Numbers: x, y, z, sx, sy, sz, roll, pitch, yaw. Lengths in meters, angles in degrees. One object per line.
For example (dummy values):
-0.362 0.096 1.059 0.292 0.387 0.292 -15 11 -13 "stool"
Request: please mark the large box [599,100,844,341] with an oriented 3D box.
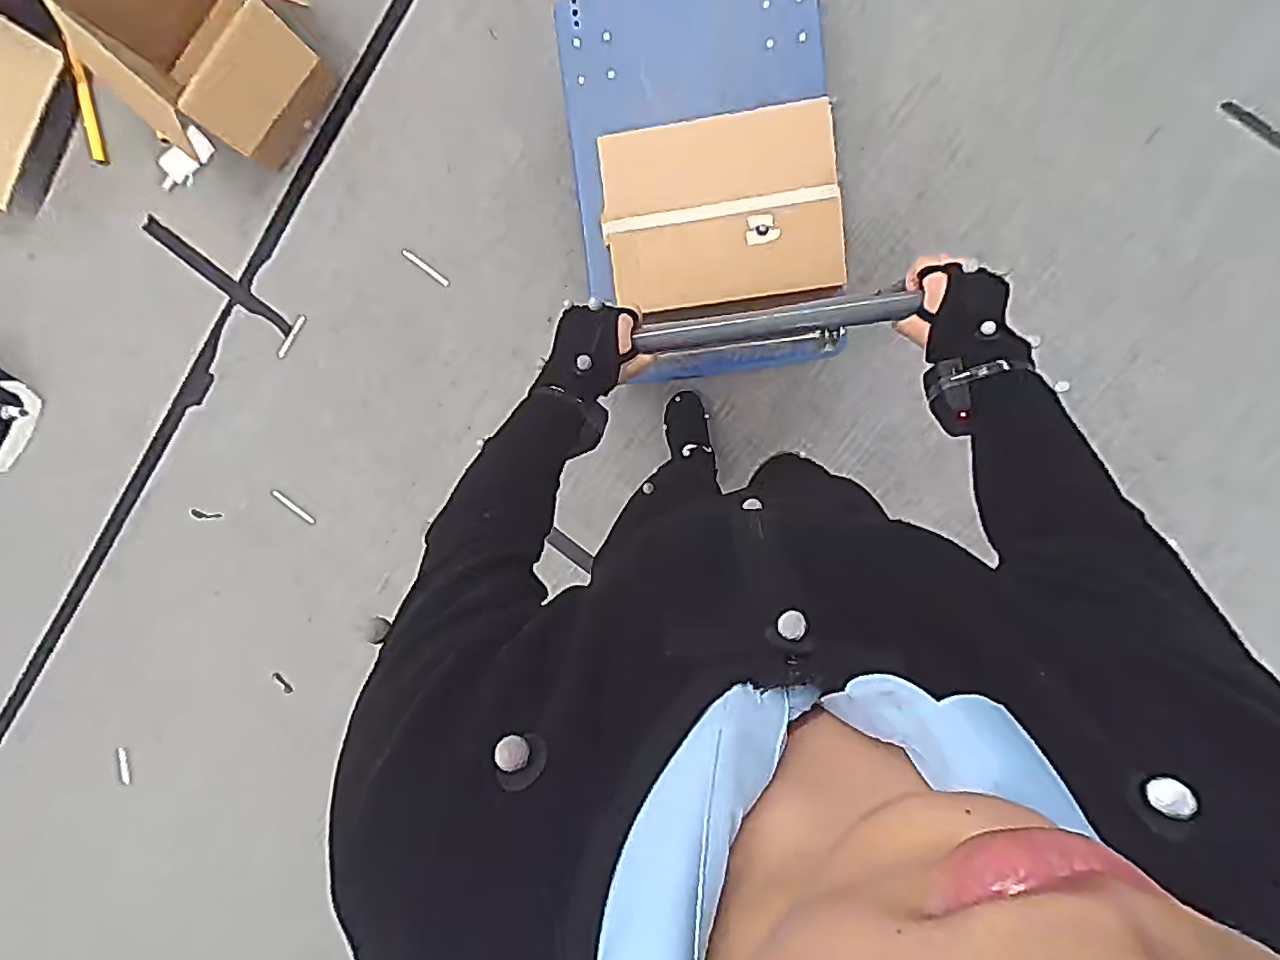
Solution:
0.151 -0.487 1.097 0.408 0.320 0.320 -7 96 5 "large box"
